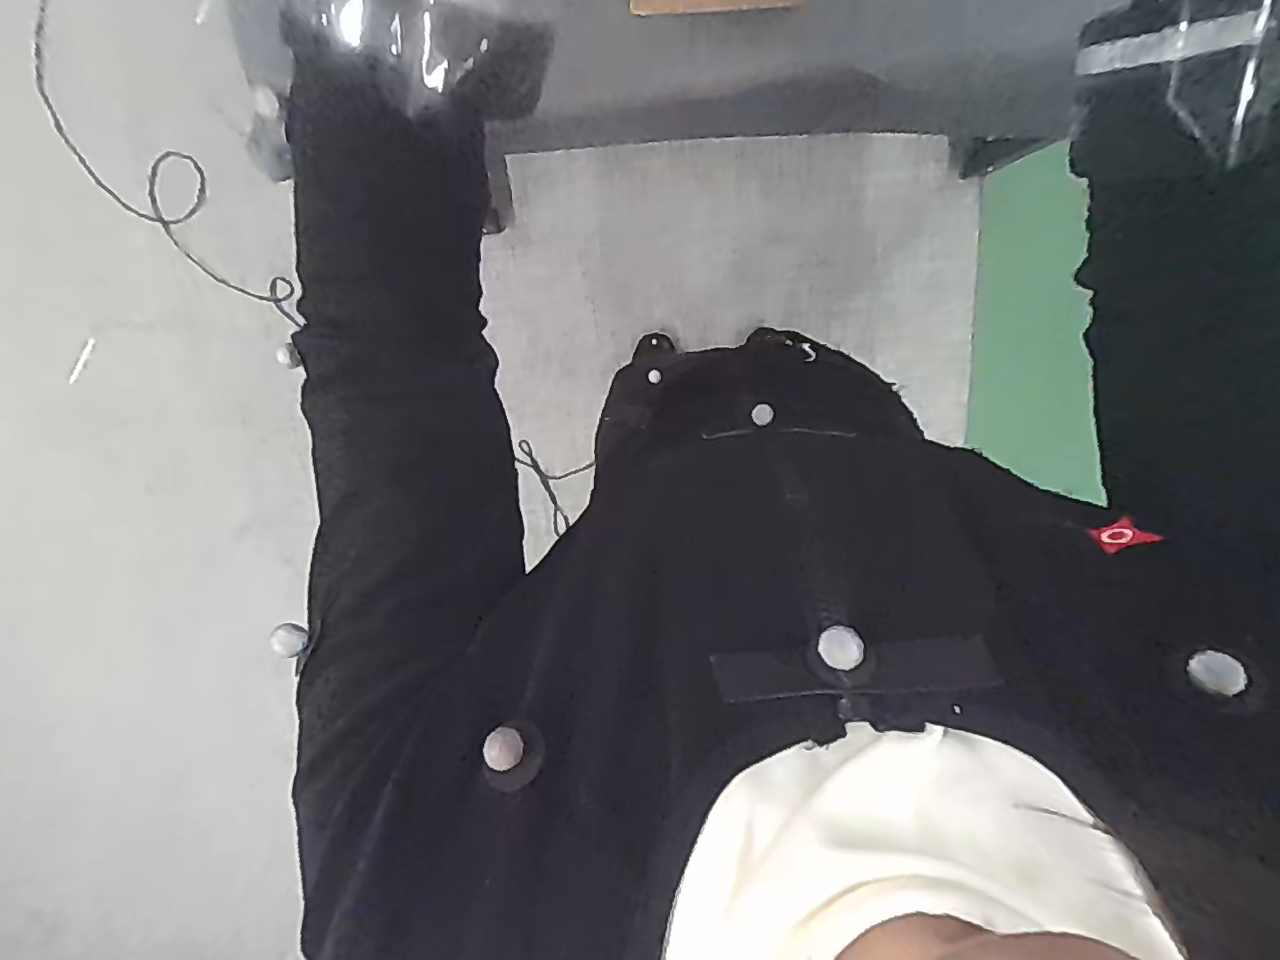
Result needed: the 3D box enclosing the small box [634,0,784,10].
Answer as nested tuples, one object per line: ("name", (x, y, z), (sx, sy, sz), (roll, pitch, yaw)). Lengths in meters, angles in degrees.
("small box", (0.072, -0.537, 0.453), (0.179, 0.176, 0.168), (-2, 105, 0))
